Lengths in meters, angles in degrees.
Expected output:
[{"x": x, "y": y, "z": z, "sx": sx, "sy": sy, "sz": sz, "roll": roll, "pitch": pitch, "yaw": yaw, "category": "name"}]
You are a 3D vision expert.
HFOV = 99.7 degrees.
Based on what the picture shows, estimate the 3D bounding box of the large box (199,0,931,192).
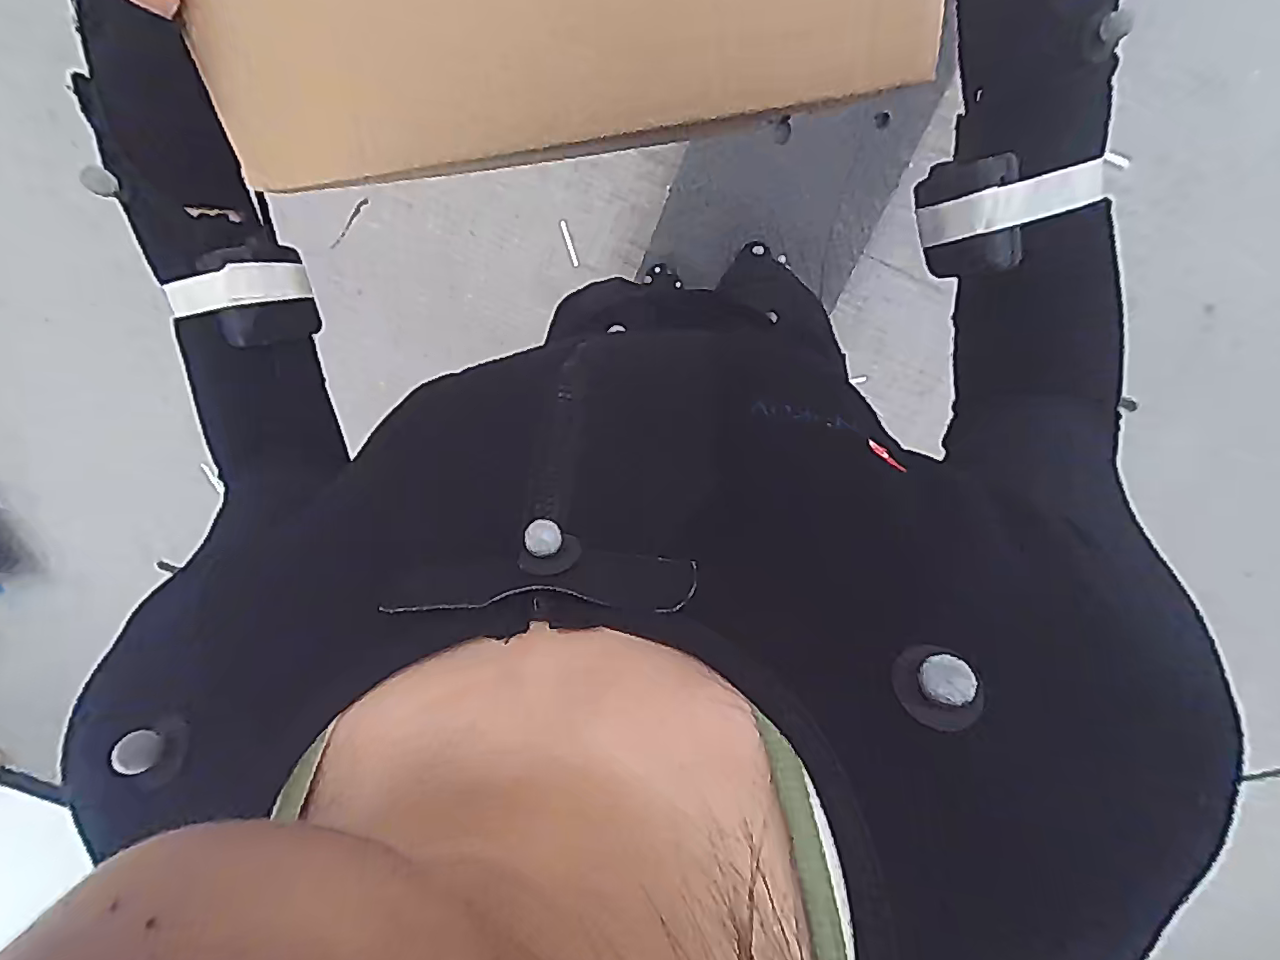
[{"x": -0.046, "y": -0.412, "z": 0.377, "sx": 0.408, "sy": 0.320, "sz": 0.320, "roll": -4, "pitch": 120, "yaw": 7, "category": "large box"}]
